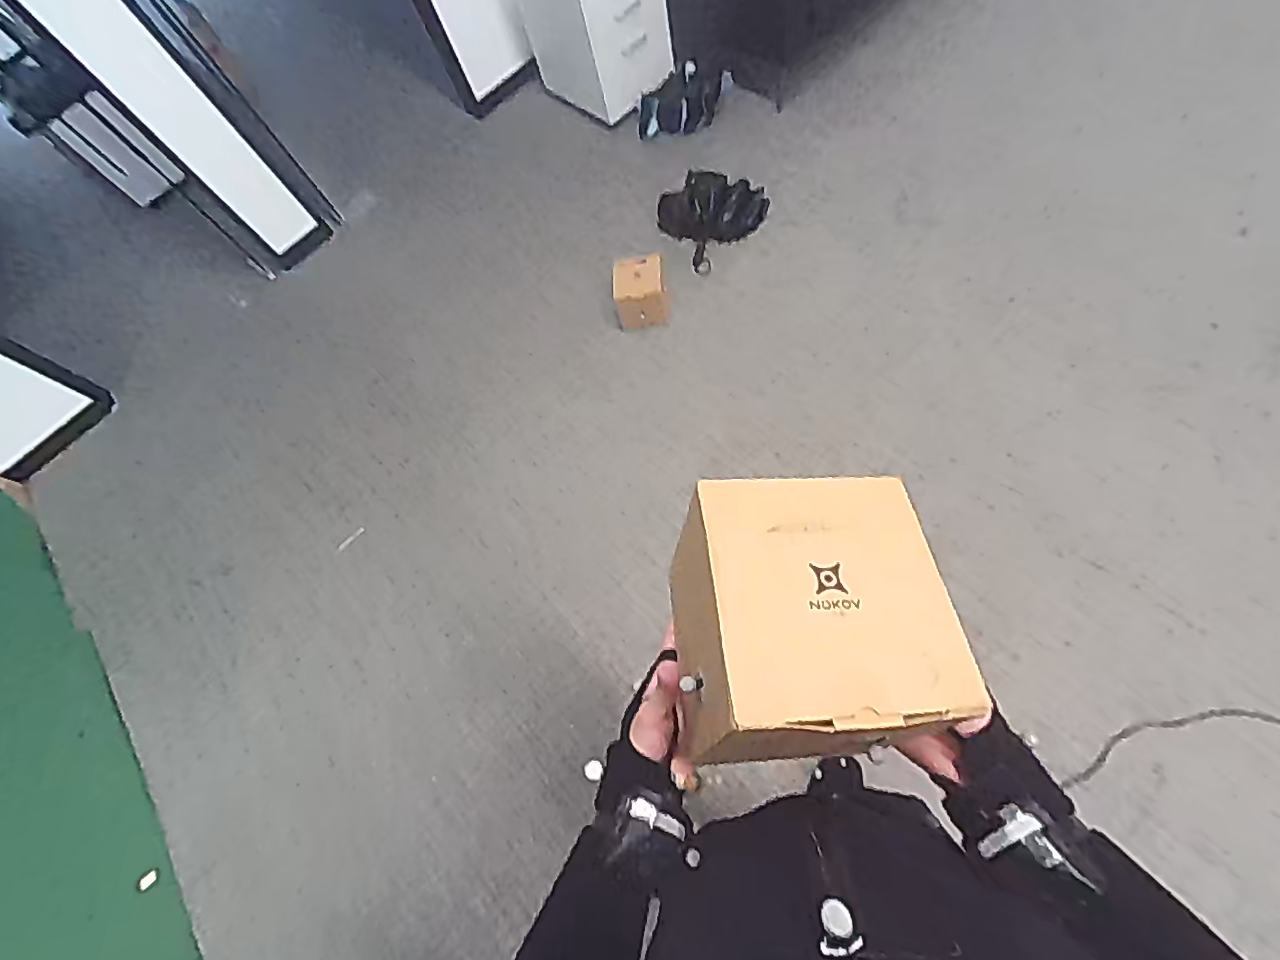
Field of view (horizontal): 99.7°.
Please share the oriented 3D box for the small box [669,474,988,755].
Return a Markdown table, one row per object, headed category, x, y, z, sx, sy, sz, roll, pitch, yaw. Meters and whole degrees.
| category | x | y | z | sx | sy | sz | roll | pitch | yaw |
| --- | --- | --- | --- | --- | --- | --- | --- | --- | --- |
| small box | 0.121 | 0.114 | 0.433 | 0.168 | 0.176 | 0.179 | -1 | 55 | -7 |
